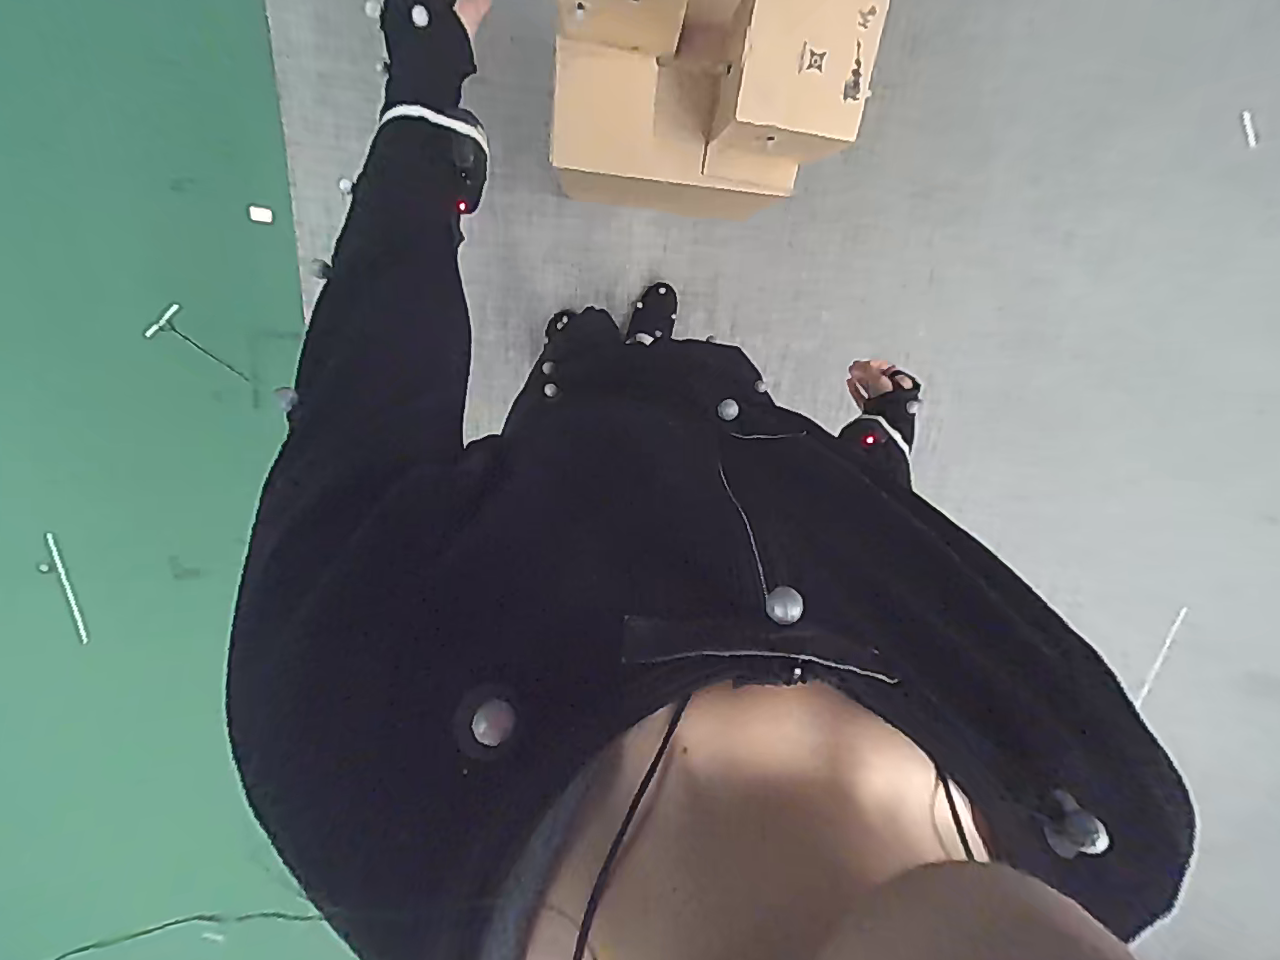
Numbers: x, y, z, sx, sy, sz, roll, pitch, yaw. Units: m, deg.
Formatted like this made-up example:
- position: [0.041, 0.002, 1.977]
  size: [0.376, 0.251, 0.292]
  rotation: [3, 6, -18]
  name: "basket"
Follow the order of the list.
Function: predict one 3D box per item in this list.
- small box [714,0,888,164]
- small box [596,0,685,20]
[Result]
- position: [0.213, -0.569, 0.776]
  size: [0.179, 0.176, 0.168]
  rotation: [7, 112, -5]
  name: "small box"
- position: [-0.010, -0.640, 0.566]
  size: [0.168, 0.176, 0.179]
  rotation: [10, 110, -5]
  name: "small box"
